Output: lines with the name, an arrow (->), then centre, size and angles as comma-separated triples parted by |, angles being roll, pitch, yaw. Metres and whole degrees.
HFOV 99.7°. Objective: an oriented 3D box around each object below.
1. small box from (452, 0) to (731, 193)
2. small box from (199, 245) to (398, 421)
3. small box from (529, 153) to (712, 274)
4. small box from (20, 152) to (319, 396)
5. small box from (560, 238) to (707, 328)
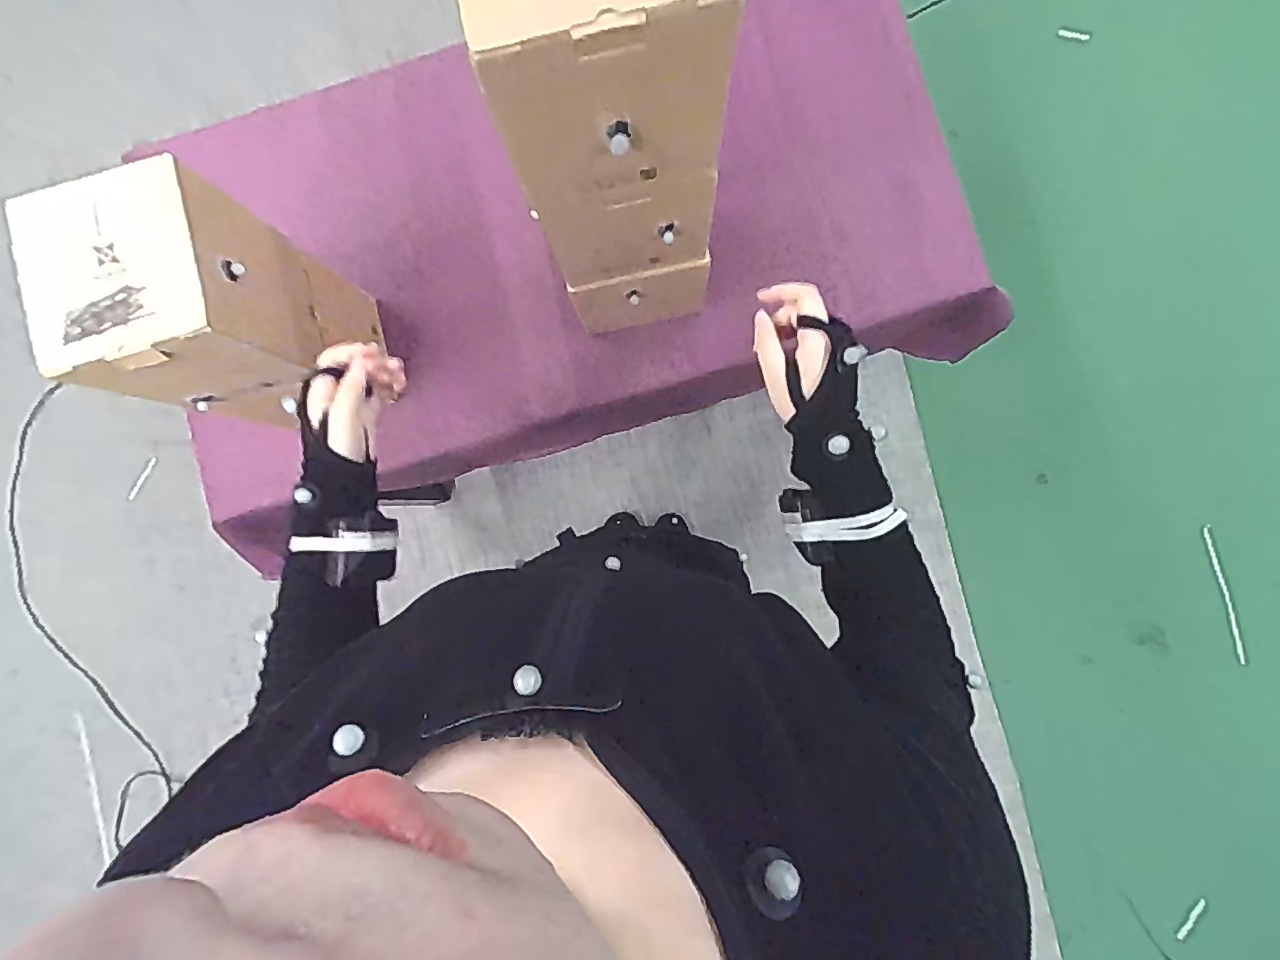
small box -> -0.036, -0.340, 0.397 | 0.168, 0.176, 0.179 | -11, 87, 2
small box -> -0.471, -0.188, 0.746 | 0.179, 0.176, 0.168 | -14, 87, 2
small box -> -0.023, -0.333, 0.561 | 0.168, 0.176, 0.179 | -10, 86, 2
small box -> -0.482, -0.199, 0.582 | 0.168, 0.176, 0.179 | -15, 85, 2
small box -> -0.011, -0.317, 0.723 | 0.179, 0.176, 0.168 | -10, 87, 3
